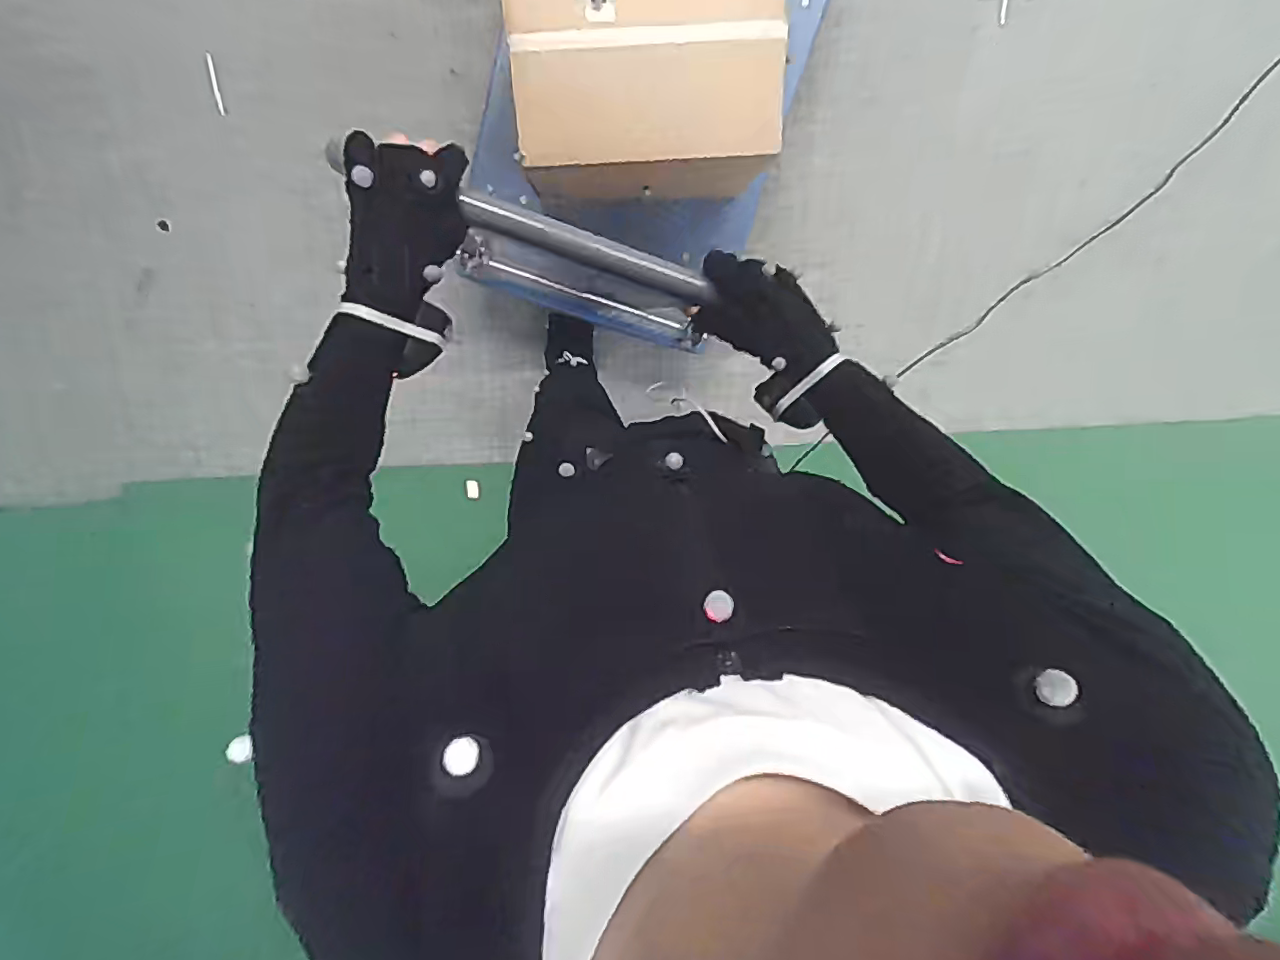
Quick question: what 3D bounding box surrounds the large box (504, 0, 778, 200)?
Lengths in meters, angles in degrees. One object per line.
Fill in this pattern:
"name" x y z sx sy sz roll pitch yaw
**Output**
"large box" 0.003 -0.691 0.935 0.408 0.320 0.320 -4 107 -1
